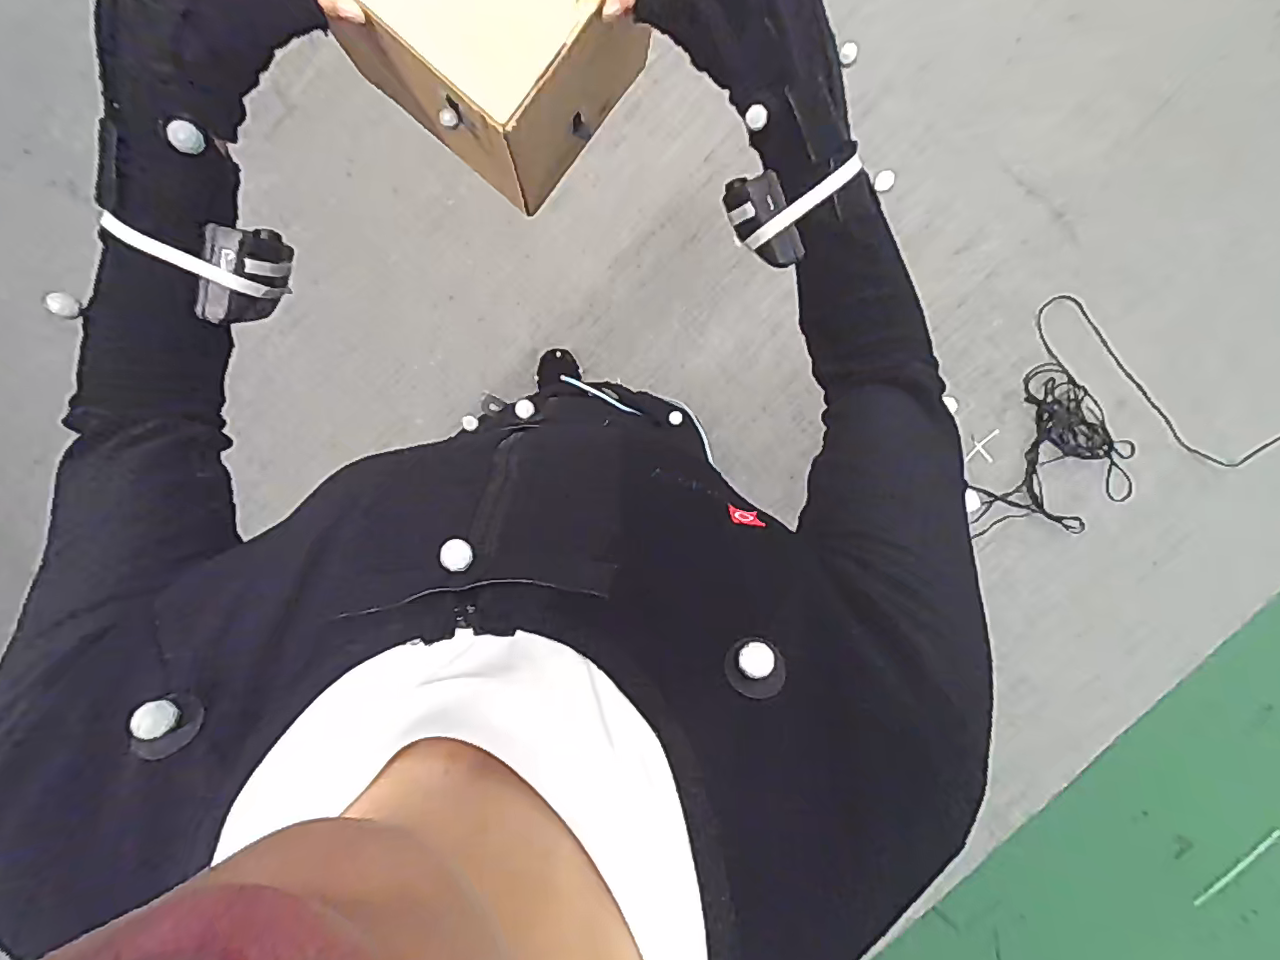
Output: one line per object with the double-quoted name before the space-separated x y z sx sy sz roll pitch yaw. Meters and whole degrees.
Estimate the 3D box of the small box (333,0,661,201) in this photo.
"small box" -0.100 -0.338 0.380 0.179 0.176 0.168 39 93 -12
